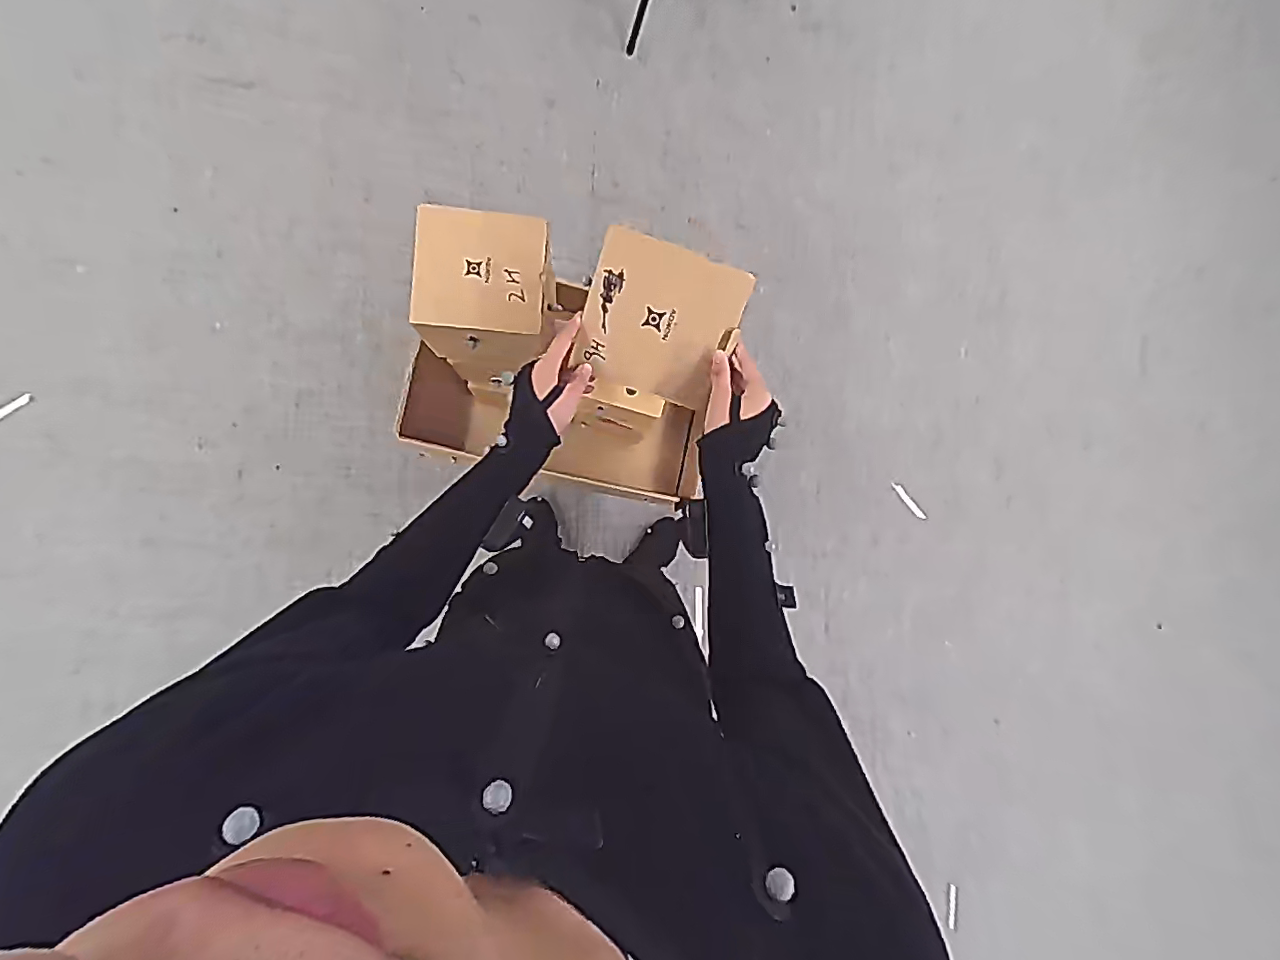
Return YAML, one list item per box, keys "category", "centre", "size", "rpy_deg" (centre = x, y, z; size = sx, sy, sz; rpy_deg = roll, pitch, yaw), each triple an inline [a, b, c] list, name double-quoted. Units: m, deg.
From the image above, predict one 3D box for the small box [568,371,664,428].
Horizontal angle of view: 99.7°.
- category: "small box"
  centre: [-0.027, -0.206, 0.997]
  size: [0.168, 0.176, 0.179]
  rpy_deg: [16, 85, -5]

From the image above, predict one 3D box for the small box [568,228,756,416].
- category: "small box"
  centre: [0.020, -0.197, 0.691]
  size: [0.179, 0.176, 0.168]
  rpy_deg: [18, 103, -7]

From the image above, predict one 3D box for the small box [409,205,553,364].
- category: "small box"
  centre: [-0.225, -0.278, 0.808]
  size: [0.179, 0.176, 0.168]
  rpy_deg: [4, 88, -8]
